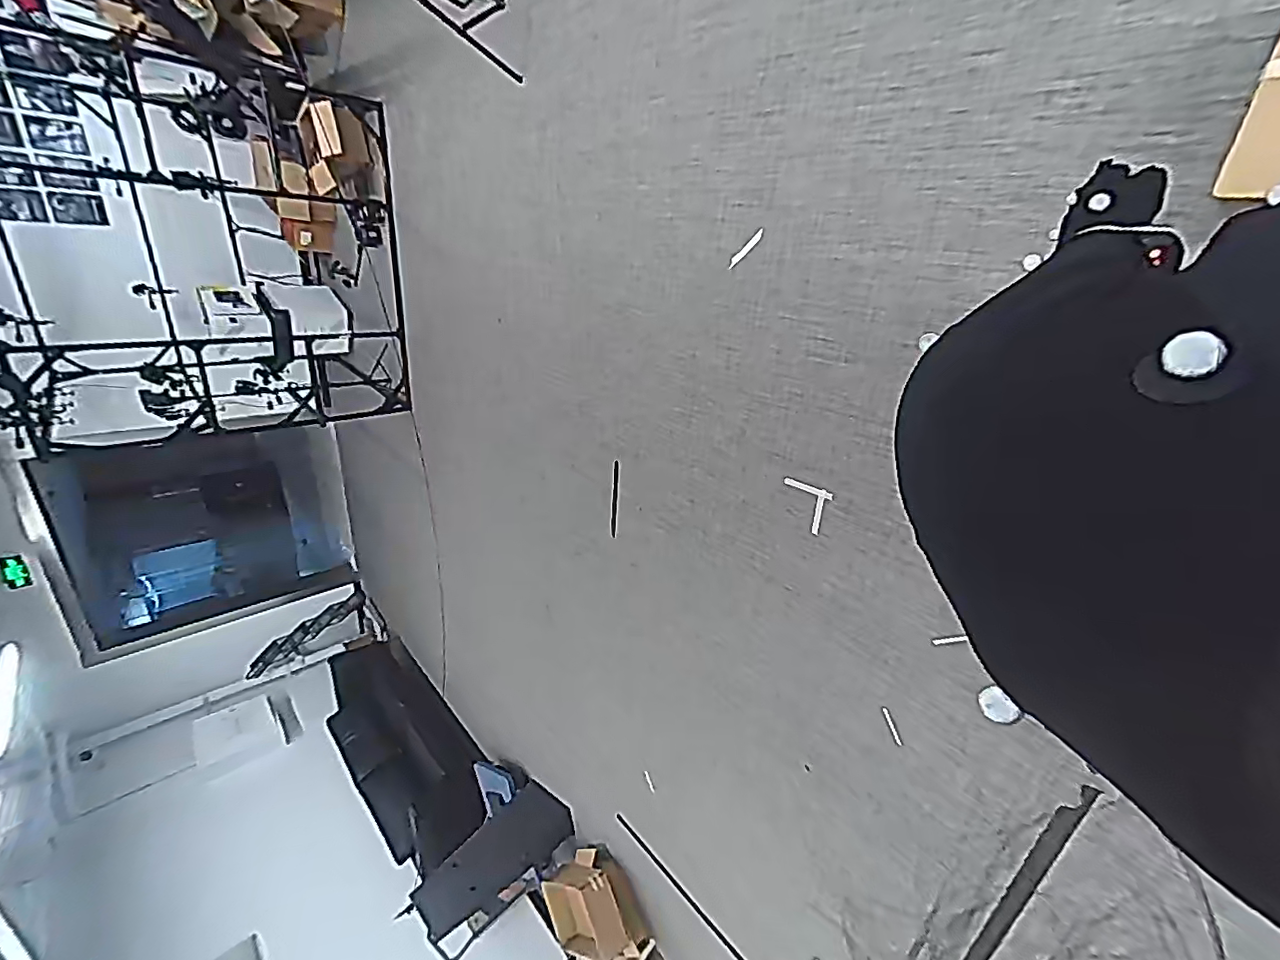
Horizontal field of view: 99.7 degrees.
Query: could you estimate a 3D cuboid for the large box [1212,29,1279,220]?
[{"bbox_3d":[1.091,-0.525,0.707,0.408,0.320,0.320,27,122,40],"label":"large box"}]
